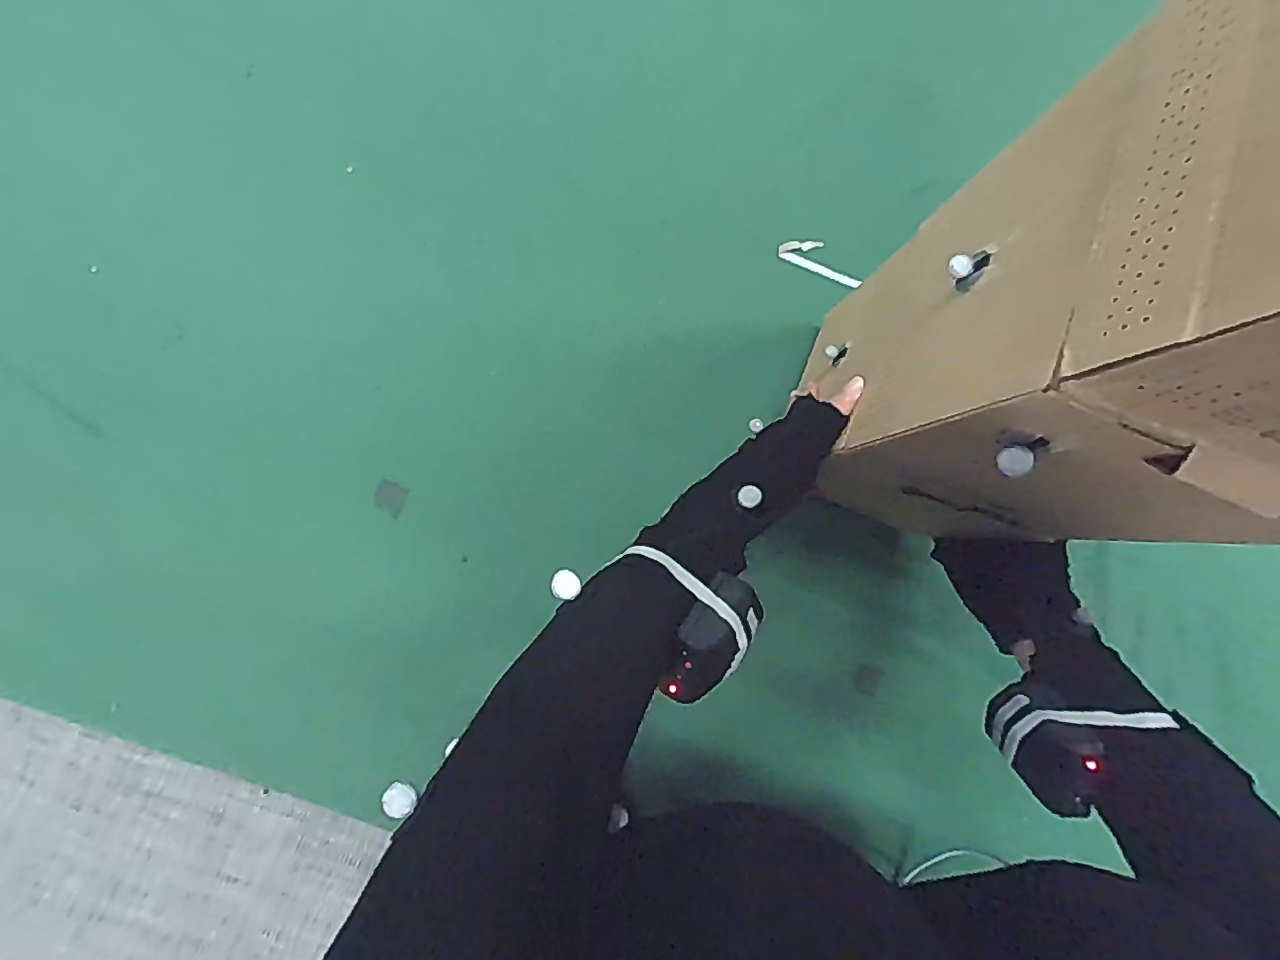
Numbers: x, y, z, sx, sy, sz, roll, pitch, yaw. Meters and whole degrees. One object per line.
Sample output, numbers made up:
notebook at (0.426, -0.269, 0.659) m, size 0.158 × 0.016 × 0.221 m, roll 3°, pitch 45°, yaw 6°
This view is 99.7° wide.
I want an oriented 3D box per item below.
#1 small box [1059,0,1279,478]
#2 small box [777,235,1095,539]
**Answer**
small box at (0.257, -0.098, 0.136) m, size 0.168 × 0.176 × 0.179 m, roll 19°, pitch 84°, yaw -3°
small box at (0.235, -0.060, 0.460) m, size 0.168 × 0.176 × 0.179 m, roll 22°, pitch 83°, yaw -2°
